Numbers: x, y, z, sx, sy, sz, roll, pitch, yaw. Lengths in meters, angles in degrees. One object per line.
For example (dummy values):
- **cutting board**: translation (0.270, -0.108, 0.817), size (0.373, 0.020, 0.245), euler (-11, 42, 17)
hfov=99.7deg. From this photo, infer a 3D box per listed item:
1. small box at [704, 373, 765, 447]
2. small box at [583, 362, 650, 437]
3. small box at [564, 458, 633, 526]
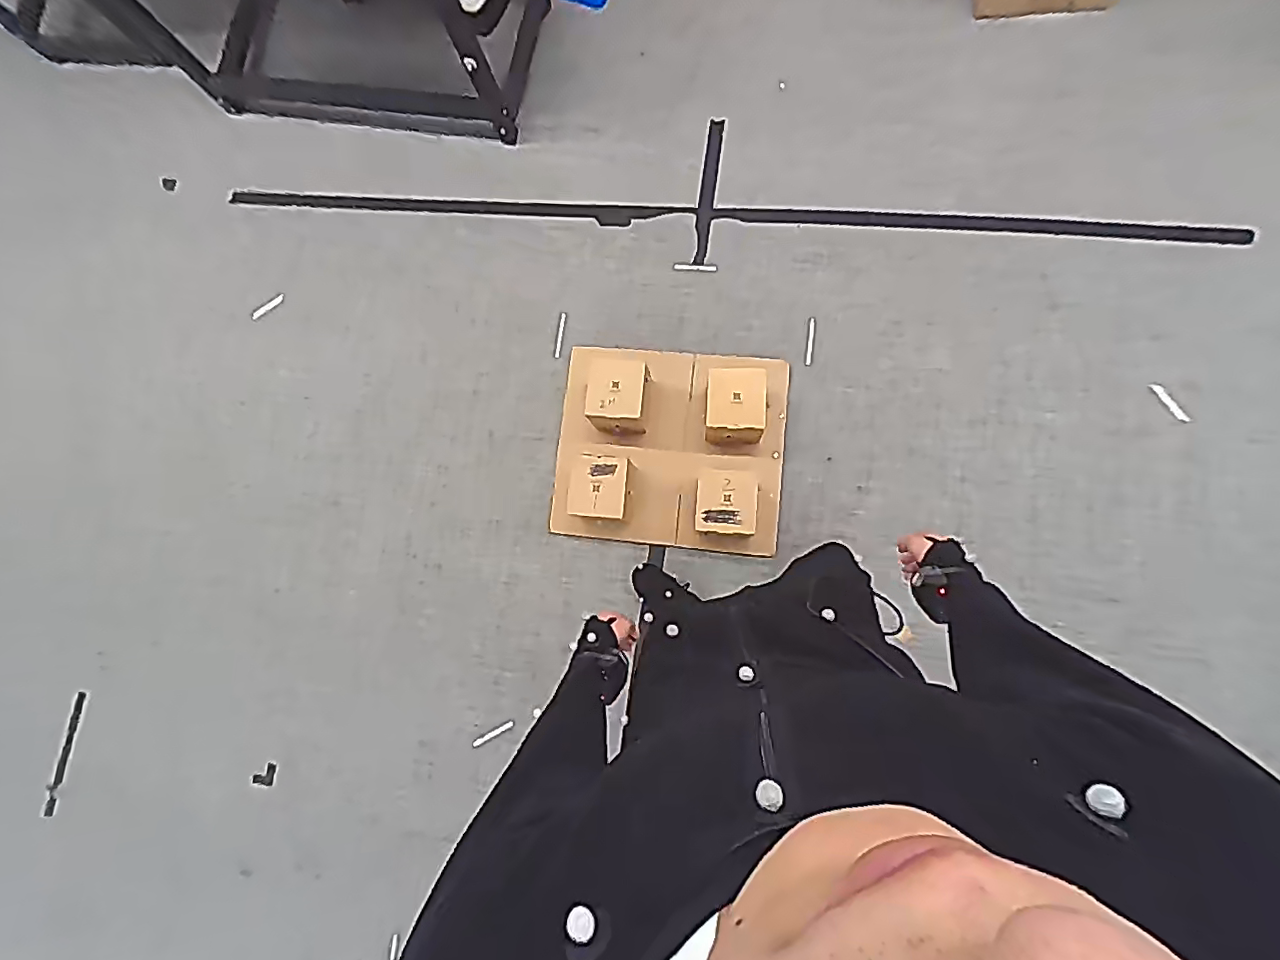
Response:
- **small box**: translation (0.274, -0.204, 1.592), size (0.168, 0.176, 0.179), euler (2, 82, 7)
- **small box**: translation (-0.065, -0.240, 1.631), size (0.168, 0.176, 0.179), euler (5, 82, 8)
- **small box**: translation (-0.115, 0.039, 1.597), size (0.168, 0.176, 0.179), euler (4, 83, 8)
